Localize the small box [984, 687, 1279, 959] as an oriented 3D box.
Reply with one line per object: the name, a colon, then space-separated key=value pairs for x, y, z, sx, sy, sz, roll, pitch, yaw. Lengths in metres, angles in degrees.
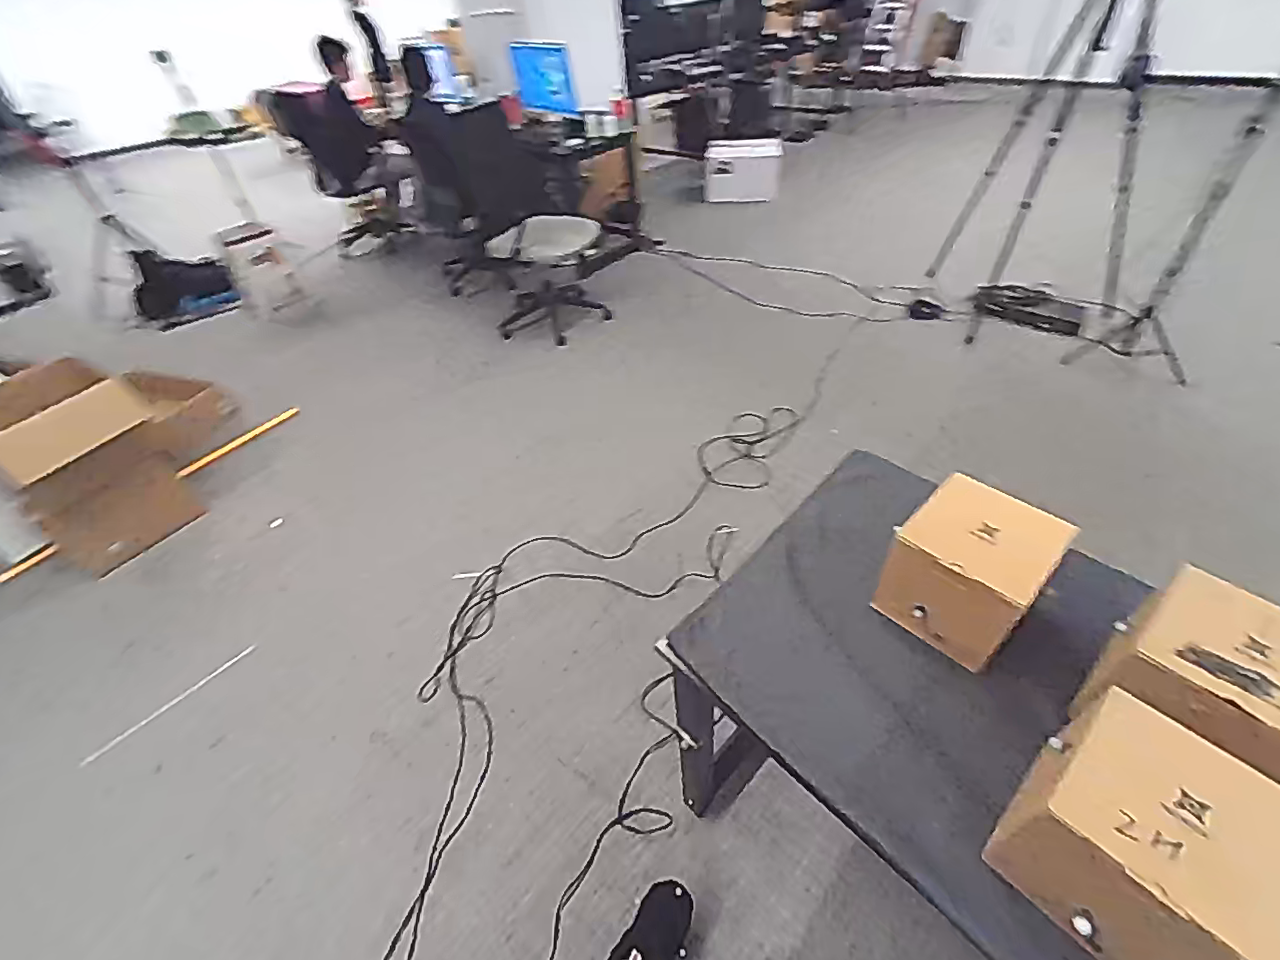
small box: x=0.485 y=0.354 z=0.540 sx=0.179 sy=0.176 sz=0.168 roll=-33 pitch=50 yaw=-27

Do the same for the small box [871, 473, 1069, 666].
small box: x=0.462 y=0.128 z=0.782 sx=0.179 sy=0.176 sz=0.168 roll=-35 pitch=51 yaw=-27

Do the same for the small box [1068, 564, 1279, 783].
small box: x=0.657 y=0.242 z=0.641 sx=0.179 sy=0.176 sz=0.168 roll=-32 pitch=50 yaw=-26
